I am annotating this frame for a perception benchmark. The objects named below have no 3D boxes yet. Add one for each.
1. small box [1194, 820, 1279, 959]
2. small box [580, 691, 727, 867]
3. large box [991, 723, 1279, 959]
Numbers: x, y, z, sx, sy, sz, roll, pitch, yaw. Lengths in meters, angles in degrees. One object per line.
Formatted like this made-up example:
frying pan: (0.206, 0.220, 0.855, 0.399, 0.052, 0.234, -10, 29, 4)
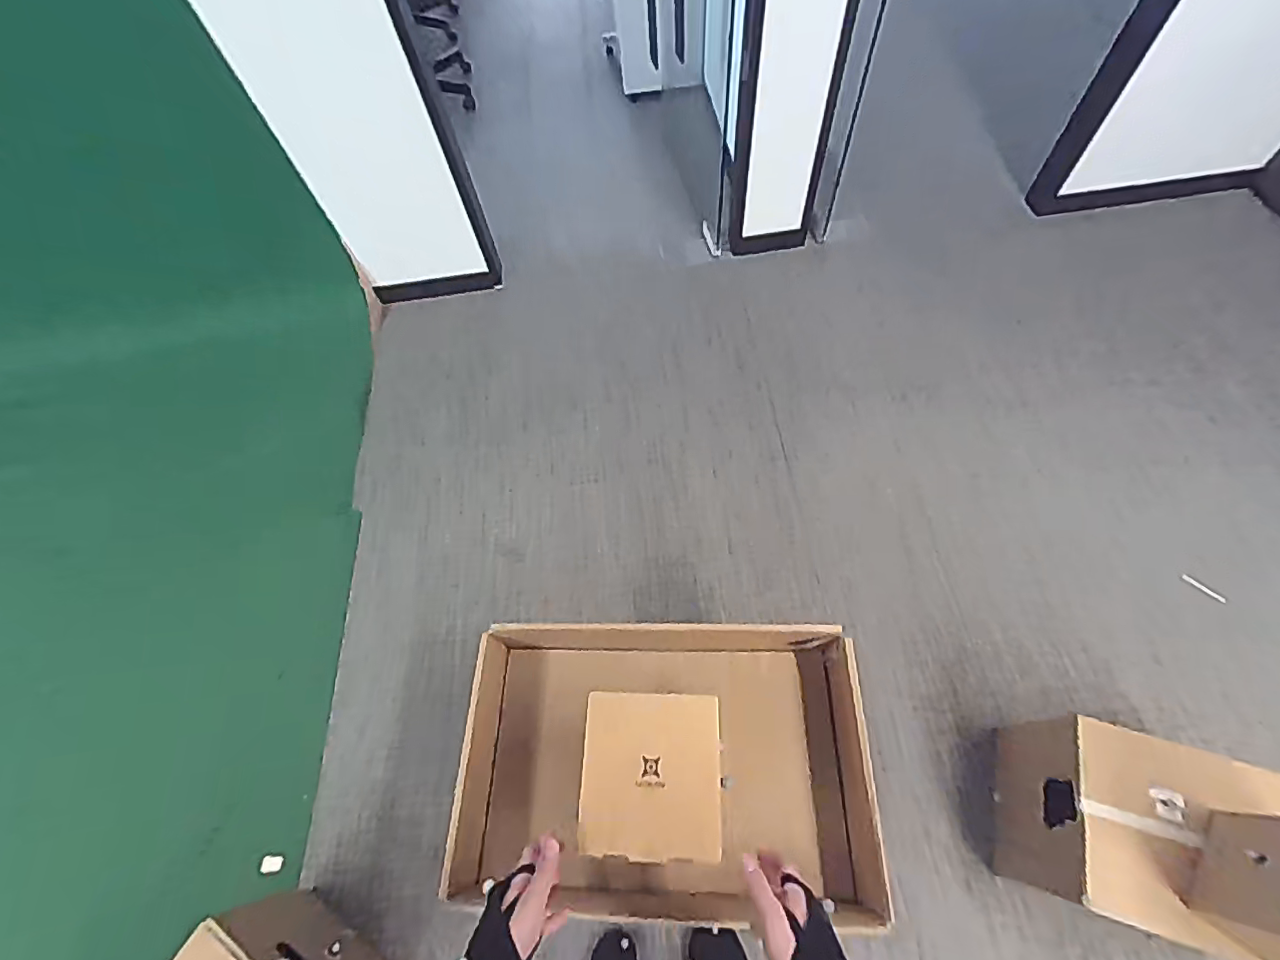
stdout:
small box: (0.986, 0.635, 0.795, 0.168, 0.176, 0.179, 33, 69, 20)
small box: (0.024, 0.382, 0.704, 0.168, 0.176, 0.179, 0, 62, 5)
large box: (0.967, 0.701, 1.041, 0.408, 0.320, 0.320, 14, 62, 13)
